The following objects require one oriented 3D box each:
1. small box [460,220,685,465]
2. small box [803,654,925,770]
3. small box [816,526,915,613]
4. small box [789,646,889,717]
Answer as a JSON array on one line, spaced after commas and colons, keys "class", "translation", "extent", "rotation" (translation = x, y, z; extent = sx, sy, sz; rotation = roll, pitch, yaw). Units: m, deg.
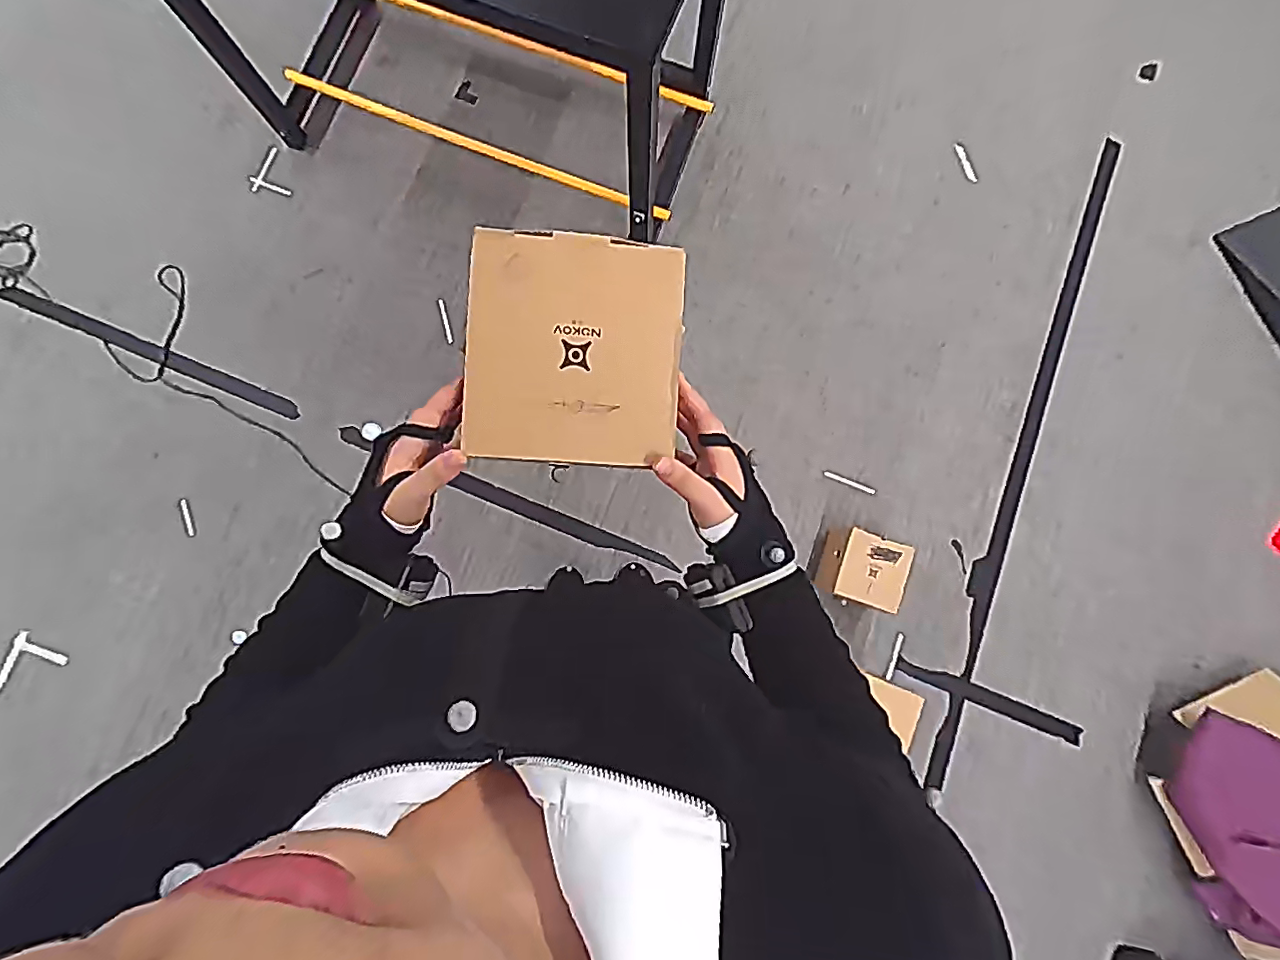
[{"class": "small box", "translation": [-0.059, -0.107, 0.496], "extent": [0.168, 0.176, 0.179], "rotation": [3, 91, -5]}, {"class": "small box", "translation": [0.498, 0.512, 1.223], "extent": [0.179, 0.176, 0.168], "rotation": [23, 83, 3]}, {"class": "small box", "translation": [0.587, 0.232, 1.426], "extent": [0.168, 0.176, 0.179], "rotation": [19, 83, 3]}, {"class": "small box", "translation": [0.504, 0.540, 1.387], "extent": [0.179, 0.176, 0.168], "rotation": [21, 83, 3]}]
